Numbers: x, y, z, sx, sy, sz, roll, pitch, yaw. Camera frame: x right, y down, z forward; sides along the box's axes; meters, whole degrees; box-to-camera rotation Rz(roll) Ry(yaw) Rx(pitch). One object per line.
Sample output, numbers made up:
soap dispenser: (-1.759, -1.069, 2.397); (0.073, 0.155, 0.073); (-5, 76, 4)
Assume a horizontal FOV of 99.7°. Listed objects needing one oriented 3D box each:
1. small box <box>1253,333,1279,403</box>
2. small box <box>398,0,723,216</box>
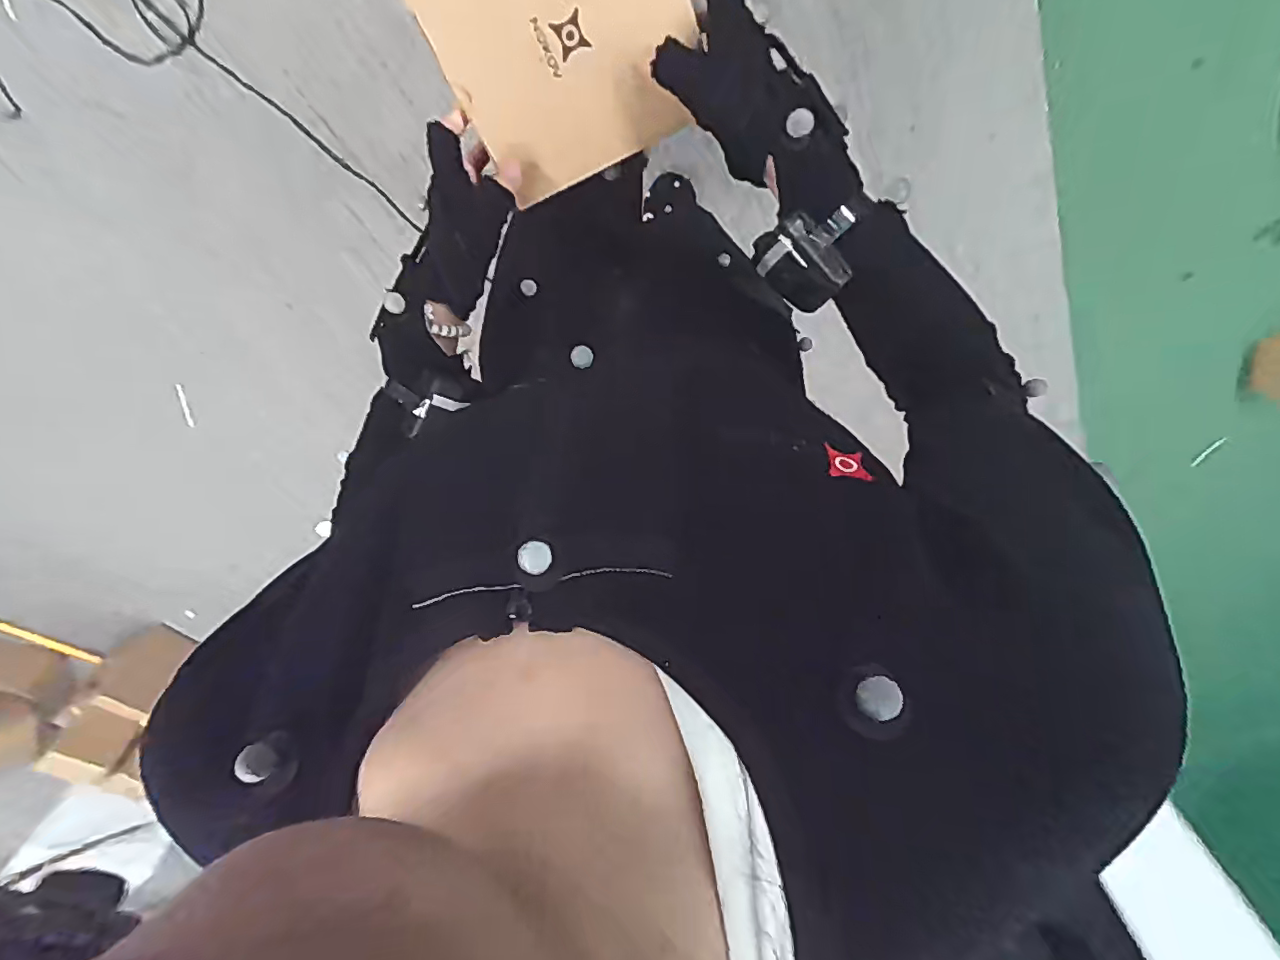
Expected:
small box: (1.817, -0.306, 1.446); (0.168, 0.176, 0.179); (-24, 124, 16)
small box: (-0.053, -0.347, 0.422); (0.179, 0.176, 0.168); (-20, 130, 15)
